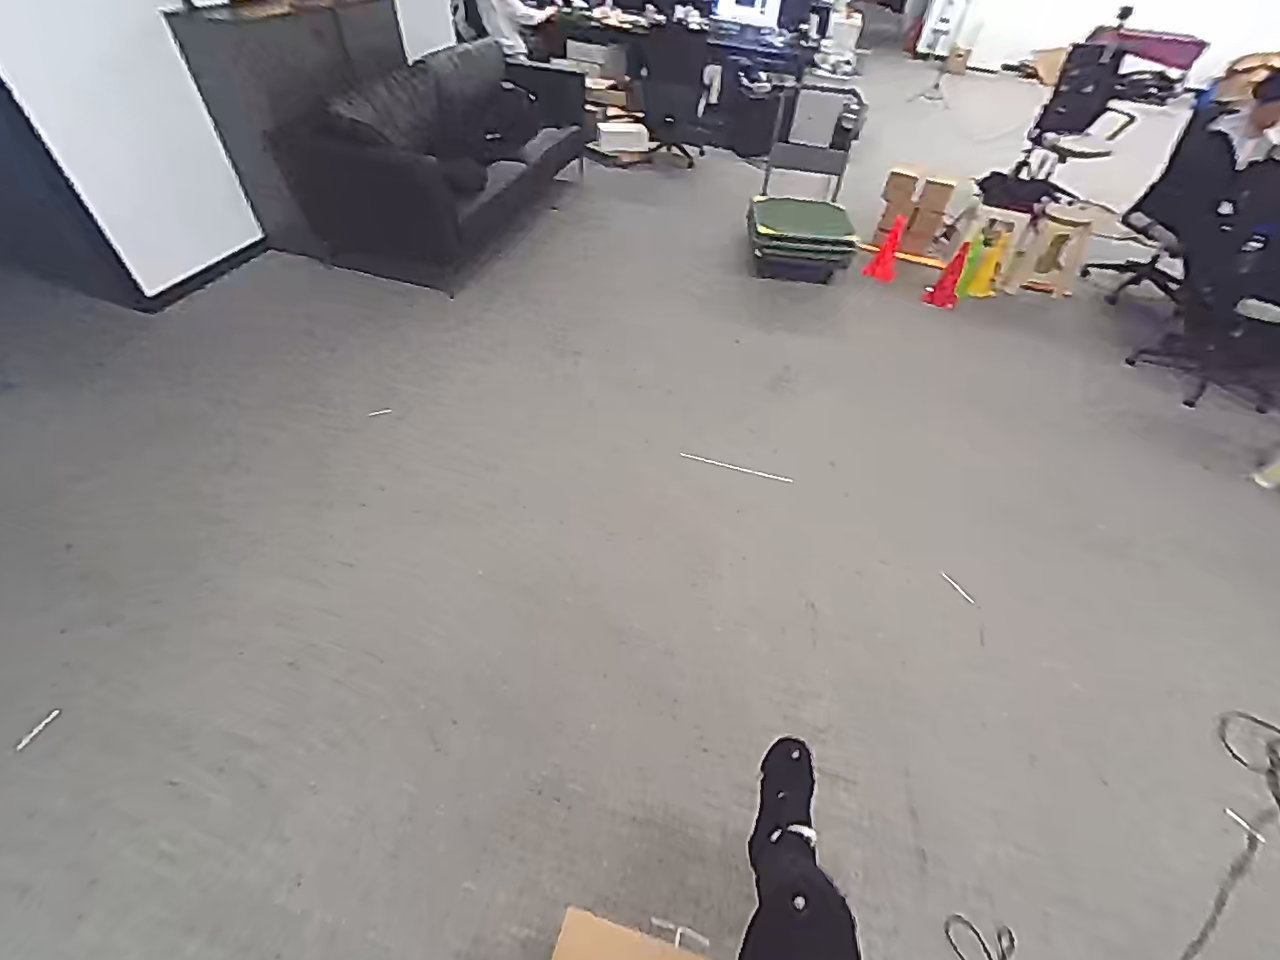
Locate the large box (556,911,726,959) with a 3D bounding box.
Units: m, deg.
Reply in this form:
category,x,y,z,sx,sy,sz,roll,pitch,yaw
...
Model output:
category,x,y,z,sx,sy,sz,roll,pitch,yaw
large box,0.016,1.069,1.008,0.408,0.320,0.320,13,46,9
